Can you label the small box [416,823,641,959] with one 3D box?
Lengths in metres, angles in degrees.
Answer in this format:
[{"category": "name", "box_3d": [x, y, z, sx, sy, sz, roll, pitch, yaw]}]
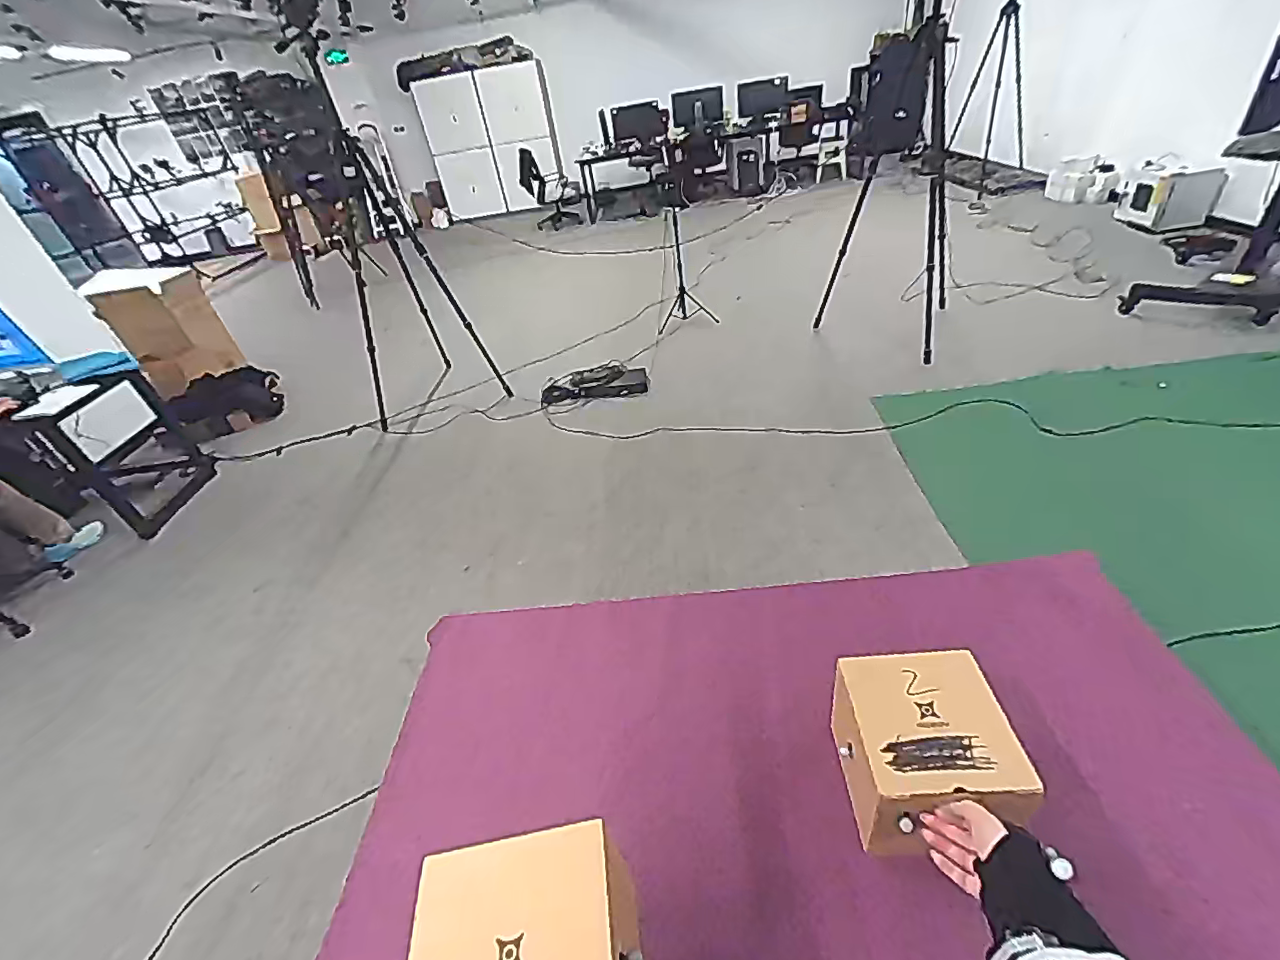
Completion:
[{"category": "small box", "box_3d": [-0.090, 0.447, 0.480, 0.168, 0.176, 0.179, -12, 38, -1]}]
